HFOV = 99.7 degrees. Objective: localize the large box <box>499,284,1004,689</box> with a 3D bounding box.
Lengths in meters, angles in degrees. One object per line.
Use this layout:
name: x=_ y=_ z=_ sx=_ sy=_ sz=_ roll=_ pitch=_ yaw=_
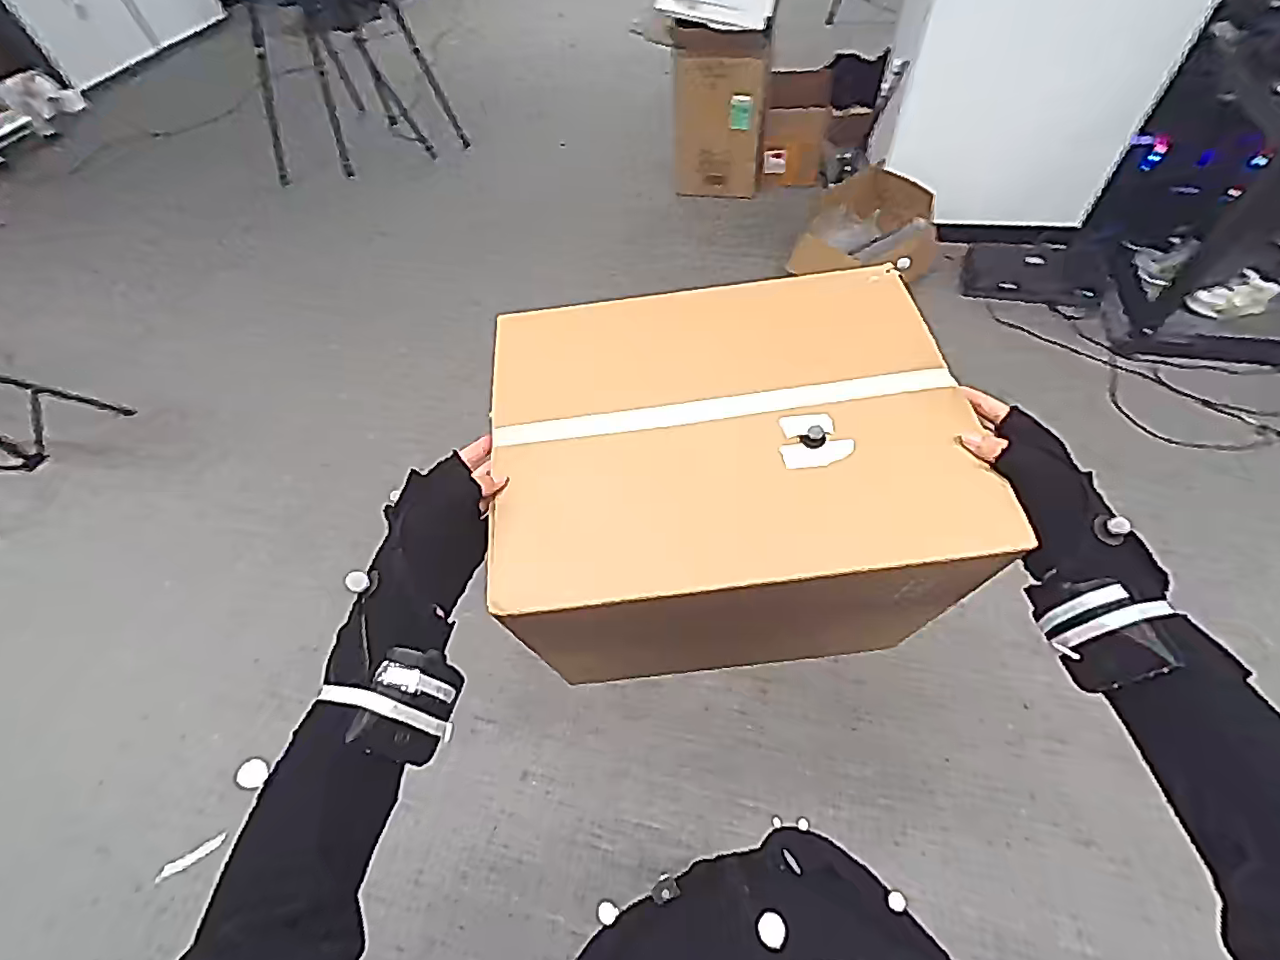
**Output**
large box: x=0.077 y=0.026 z=0.618 sx=0.408 sy=0.320 sz=0.320 roll=-8 pitch=60 yaw=0
